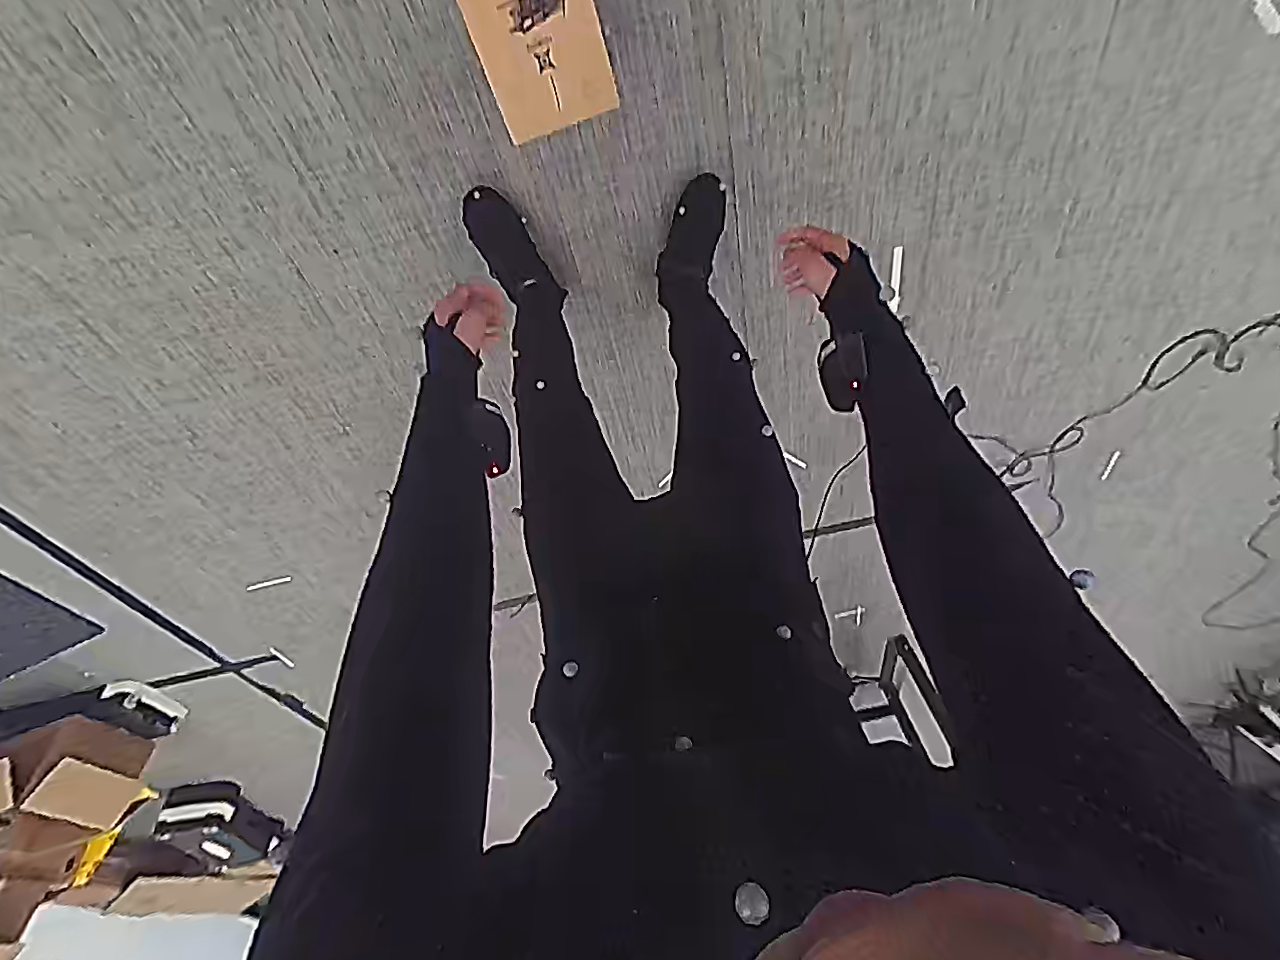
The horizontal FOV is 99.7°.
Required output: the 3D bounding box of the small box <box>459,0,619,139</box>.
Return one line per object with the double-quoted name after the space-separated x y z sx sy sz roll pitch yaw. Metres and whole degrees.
-0.138 -0.618 0.760 0.168 0.176 0.179 -16 134 6 "small box"
